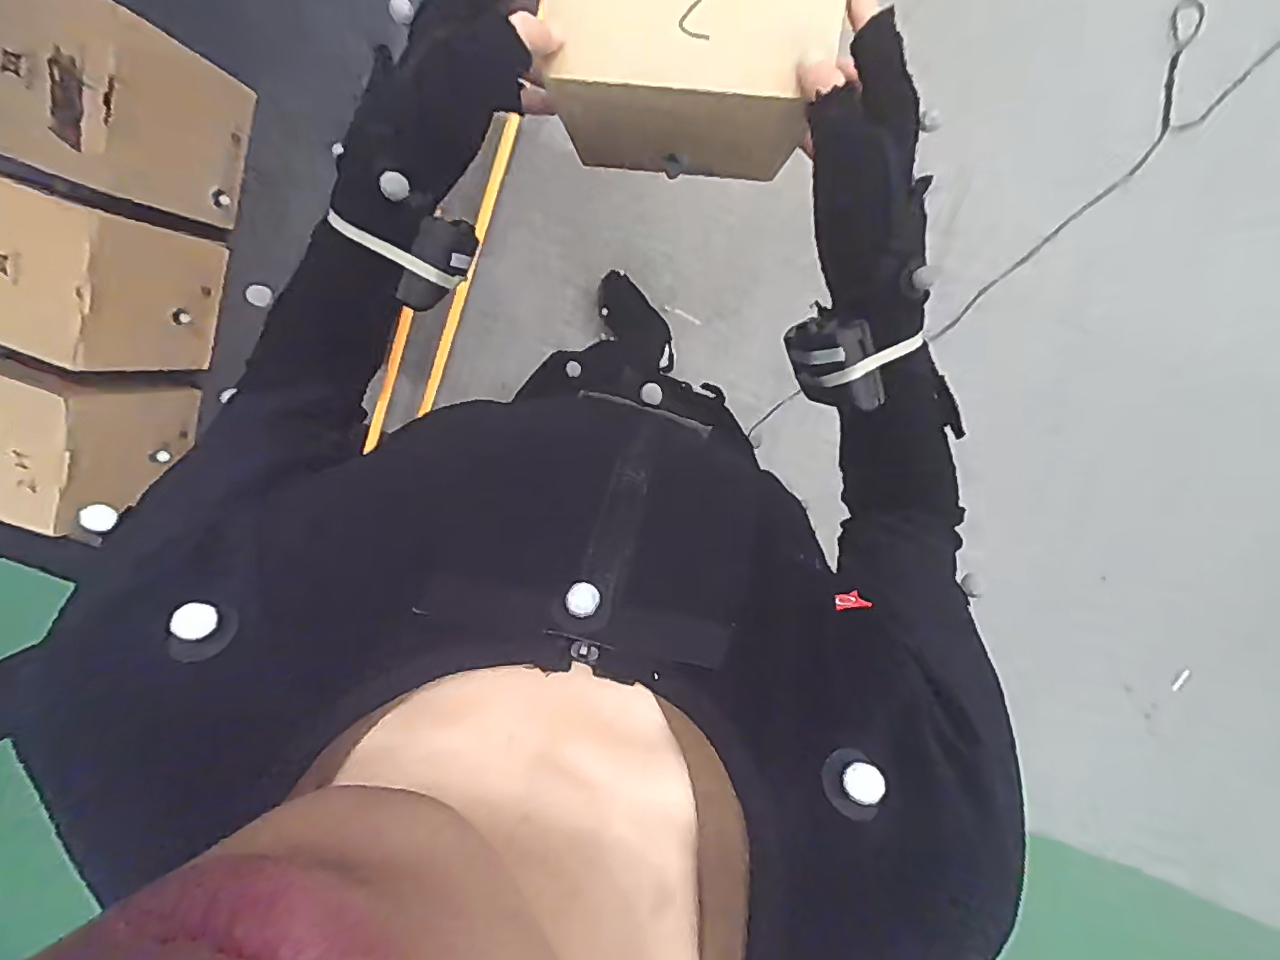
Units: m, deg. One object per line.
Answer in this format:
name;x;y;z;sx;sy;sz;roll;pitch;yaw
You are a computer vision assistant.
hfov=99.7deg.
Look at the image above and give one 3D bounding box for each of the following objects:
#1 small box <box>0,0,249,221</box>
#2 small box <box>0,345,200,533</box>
small box;-0.569;-0.400;0.580;0.179;0.176;0.168;20;103;-1
small box;-0.699;-0.058;0.659;0.179;0.176;0.168;20;103;-1
